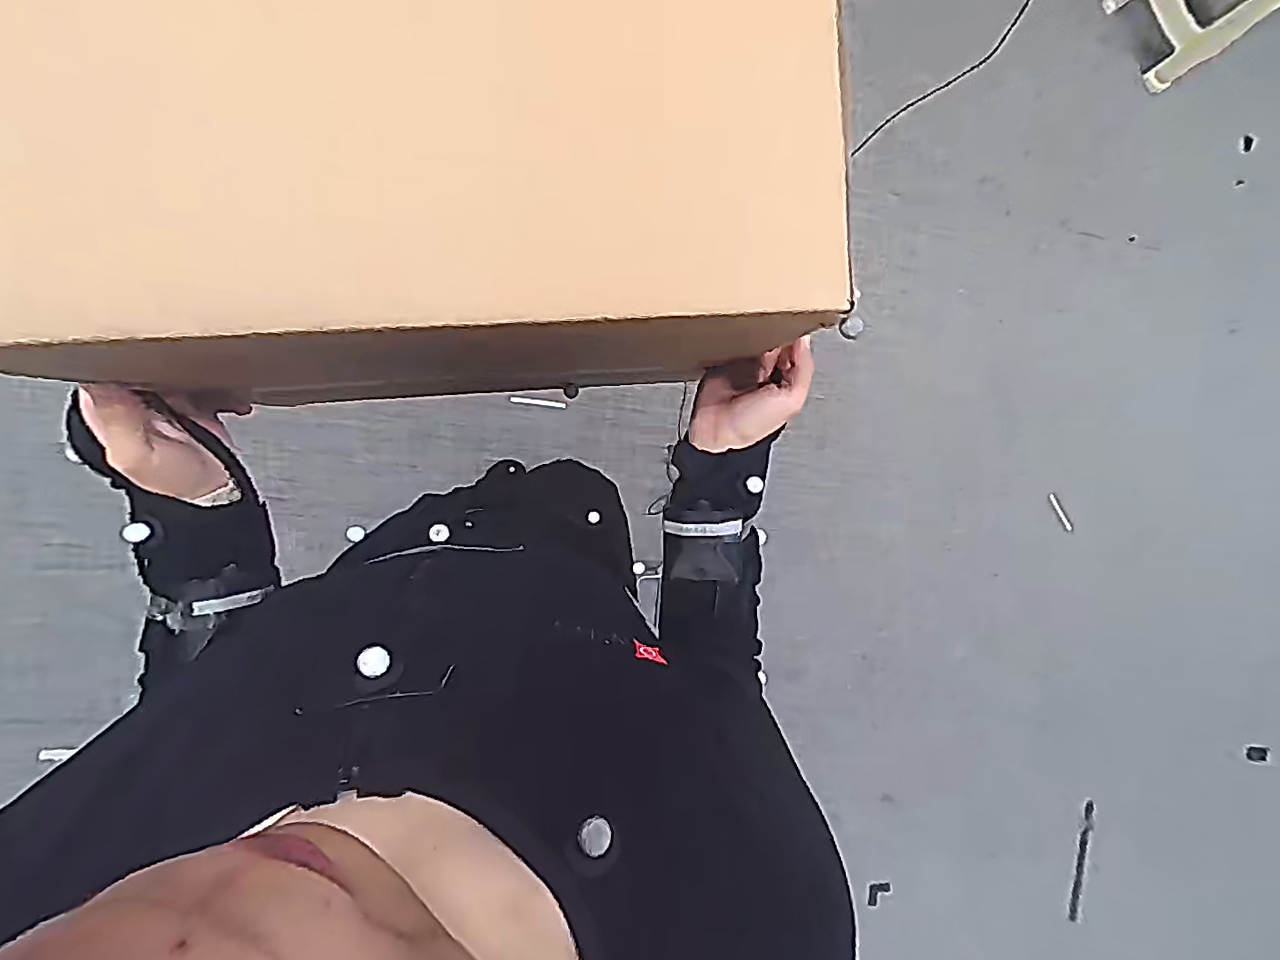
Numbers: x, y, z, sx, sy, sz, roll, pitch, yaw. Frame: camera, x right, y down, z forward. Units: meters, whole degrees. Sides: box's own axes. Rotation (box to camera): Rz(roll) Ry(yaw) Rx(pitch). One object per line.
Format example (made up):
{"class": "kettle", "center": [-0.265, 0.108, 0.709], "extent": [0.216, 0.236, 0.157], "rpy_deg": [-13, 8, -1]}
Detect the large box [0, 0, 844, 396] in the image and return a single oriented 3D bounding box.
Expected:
{"class": "large box", "center": [-0.134, -0.240, 0.365], "extent": [0.408, 0.320, 0.320], "rpy_deg": [-7, 97, -9]}
